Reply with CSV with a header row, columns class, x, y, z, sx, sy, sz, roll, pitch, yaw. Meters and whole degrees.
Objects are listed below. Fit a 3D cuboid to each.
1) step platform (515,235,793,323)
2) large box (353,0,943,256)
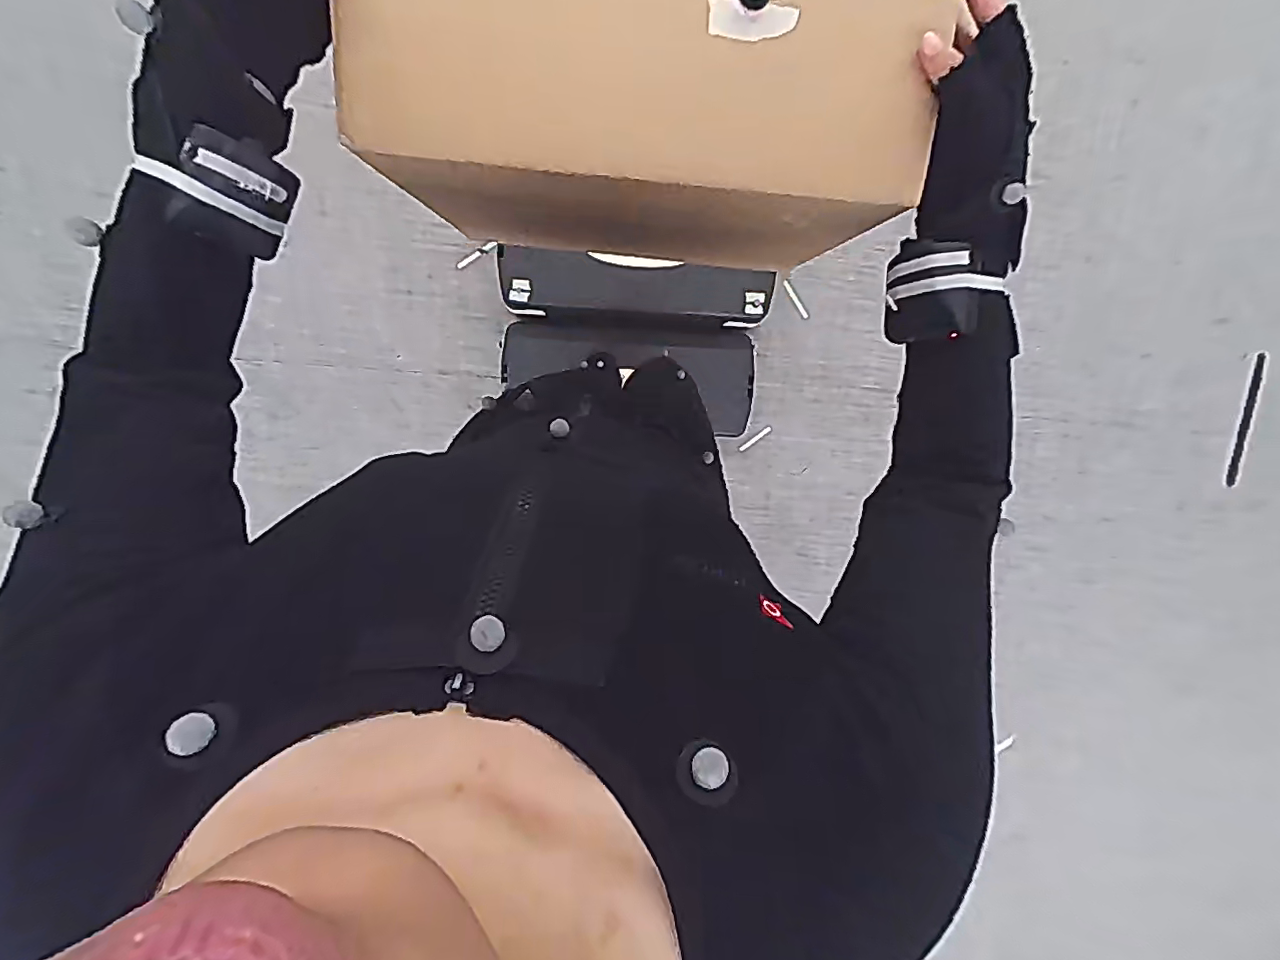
class,x,y,z,sx,sy,sz,roll,pitch,yaw
step platform,0.034,-0.566,1.366,0.684,0.204,0.286,2,100,-3
large box,0.006,-0.408,0.495,0.408,0.320,0.320,4,104,-3
